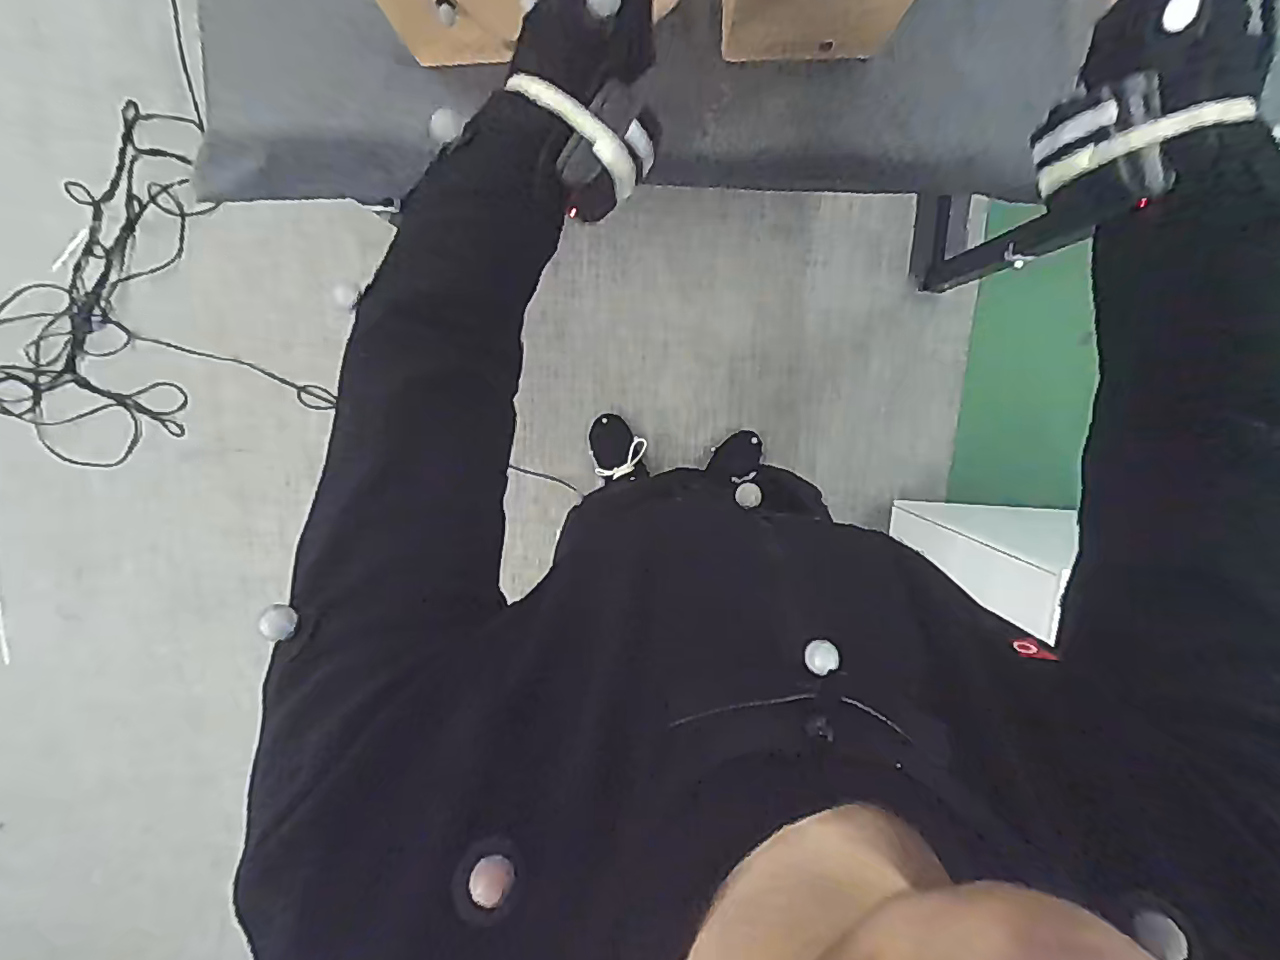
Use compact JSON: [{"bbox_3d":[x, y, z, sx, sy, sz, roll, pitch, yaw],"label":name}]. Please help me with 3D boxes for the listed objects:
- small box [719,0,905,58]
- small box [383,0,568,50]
[{"bbox_3d":[0.164,-0.523,0.479,0.168,0.176,0.179,0,98,0],"label":"small box"},{"bbox_3d":[-0.160,-0.522,0.481,0.168,0.176,0.179,-2,98,1],"label":"small box"}]
